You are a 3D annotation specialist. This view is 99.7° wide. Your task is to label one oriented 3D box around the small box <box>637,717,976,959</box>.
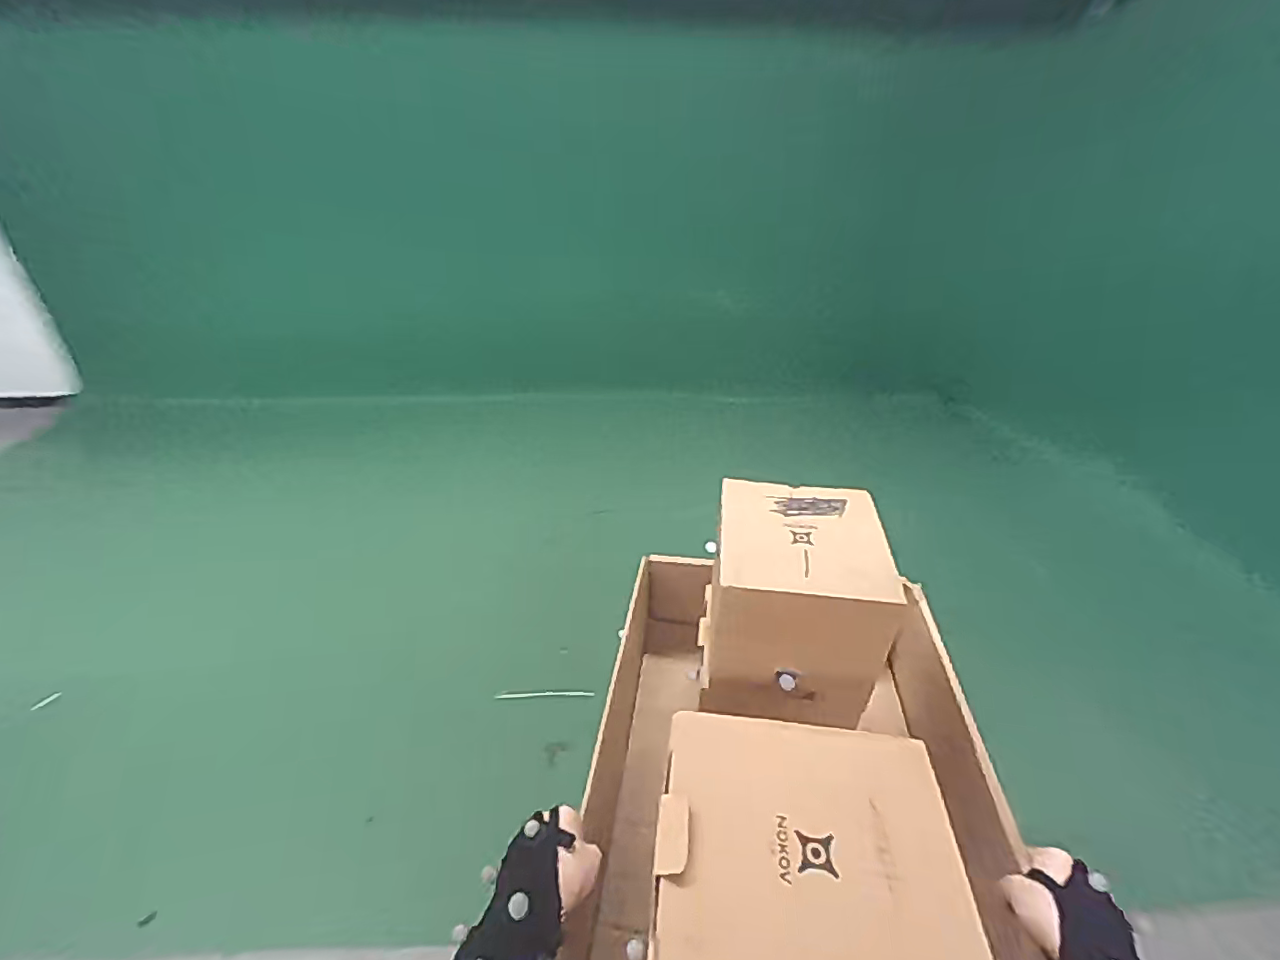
[{"bbox_3d":[0.092,0.289,0.362,0.179,0.176,0.168,4,34,5],"label":"small box"}]
